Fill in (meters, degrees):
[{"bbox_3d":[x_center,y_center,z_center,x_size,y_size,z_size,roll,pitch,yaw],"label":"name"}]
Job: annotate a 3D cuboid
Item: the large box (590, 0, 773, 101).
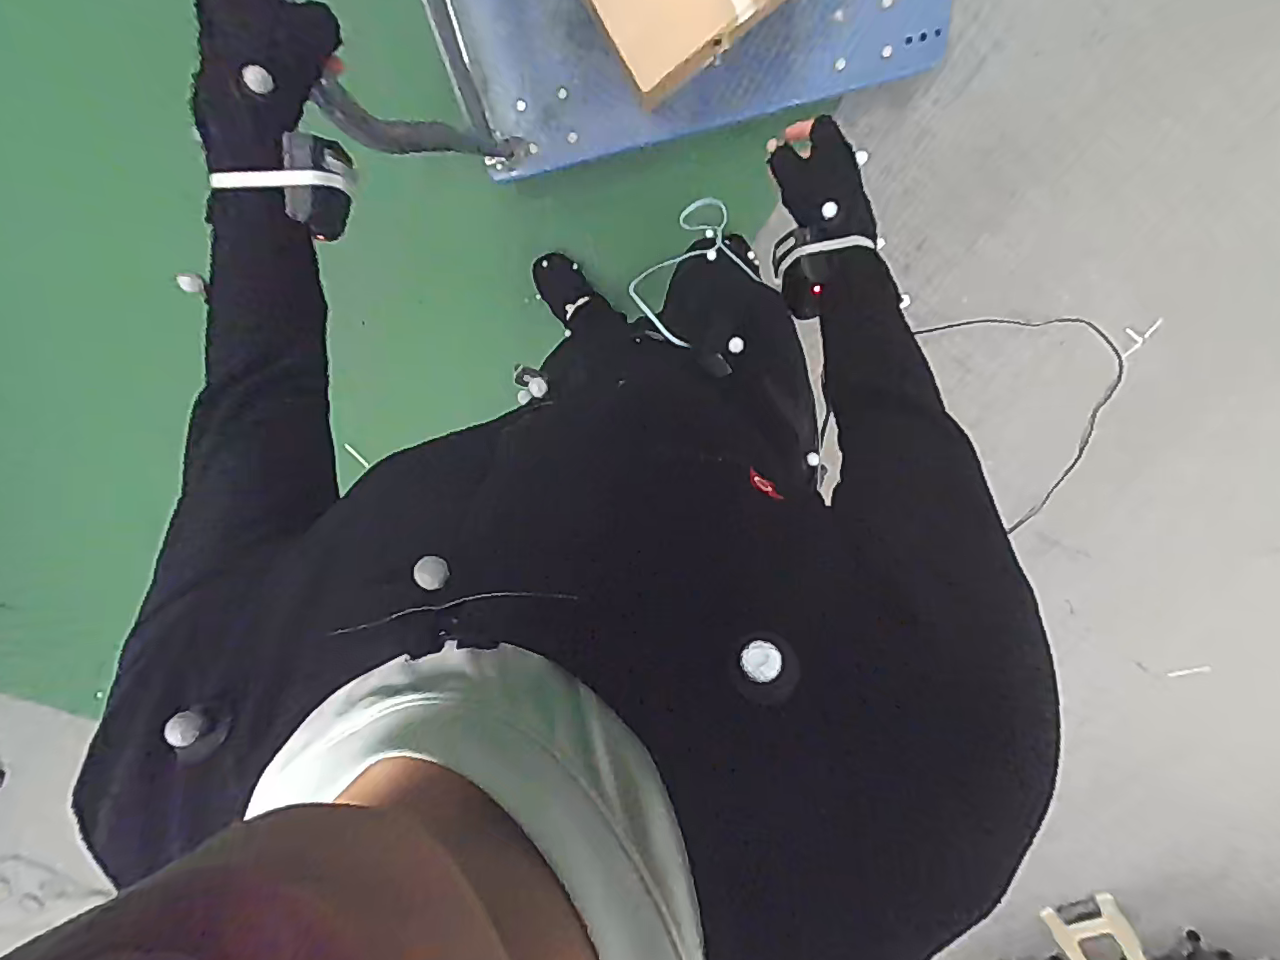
[{"bbox_3d":[0.024,-0.836,0.750,0.320,0.320,0.408,-30,114,18],"label":"large box"}]
